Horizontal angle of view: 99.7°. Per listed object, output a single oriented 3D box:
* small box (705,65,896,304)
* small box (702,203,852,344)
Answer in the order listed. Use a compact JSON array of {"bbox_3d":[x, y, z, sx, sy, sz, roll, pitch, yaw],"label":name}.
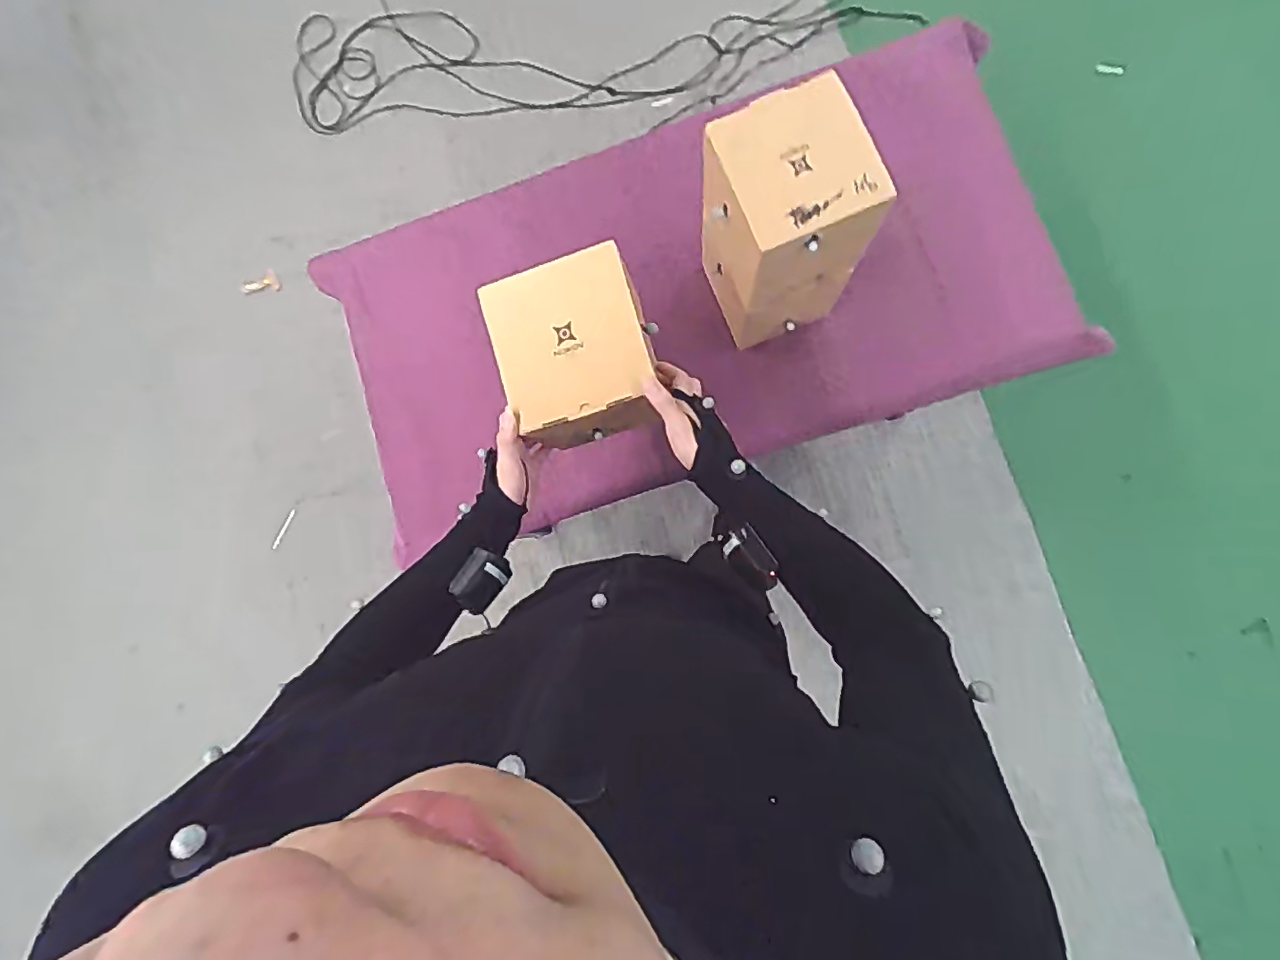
[{"bbox_3d":[0.187,-0.361,0.693,0.168,0.176,0.179,-22,82,4],"label":"small box"},{"bbox_3d":[0.203,-0.345,0.855,0.168,0.176,0.179,-22,83,3],"label":"small box"}]
